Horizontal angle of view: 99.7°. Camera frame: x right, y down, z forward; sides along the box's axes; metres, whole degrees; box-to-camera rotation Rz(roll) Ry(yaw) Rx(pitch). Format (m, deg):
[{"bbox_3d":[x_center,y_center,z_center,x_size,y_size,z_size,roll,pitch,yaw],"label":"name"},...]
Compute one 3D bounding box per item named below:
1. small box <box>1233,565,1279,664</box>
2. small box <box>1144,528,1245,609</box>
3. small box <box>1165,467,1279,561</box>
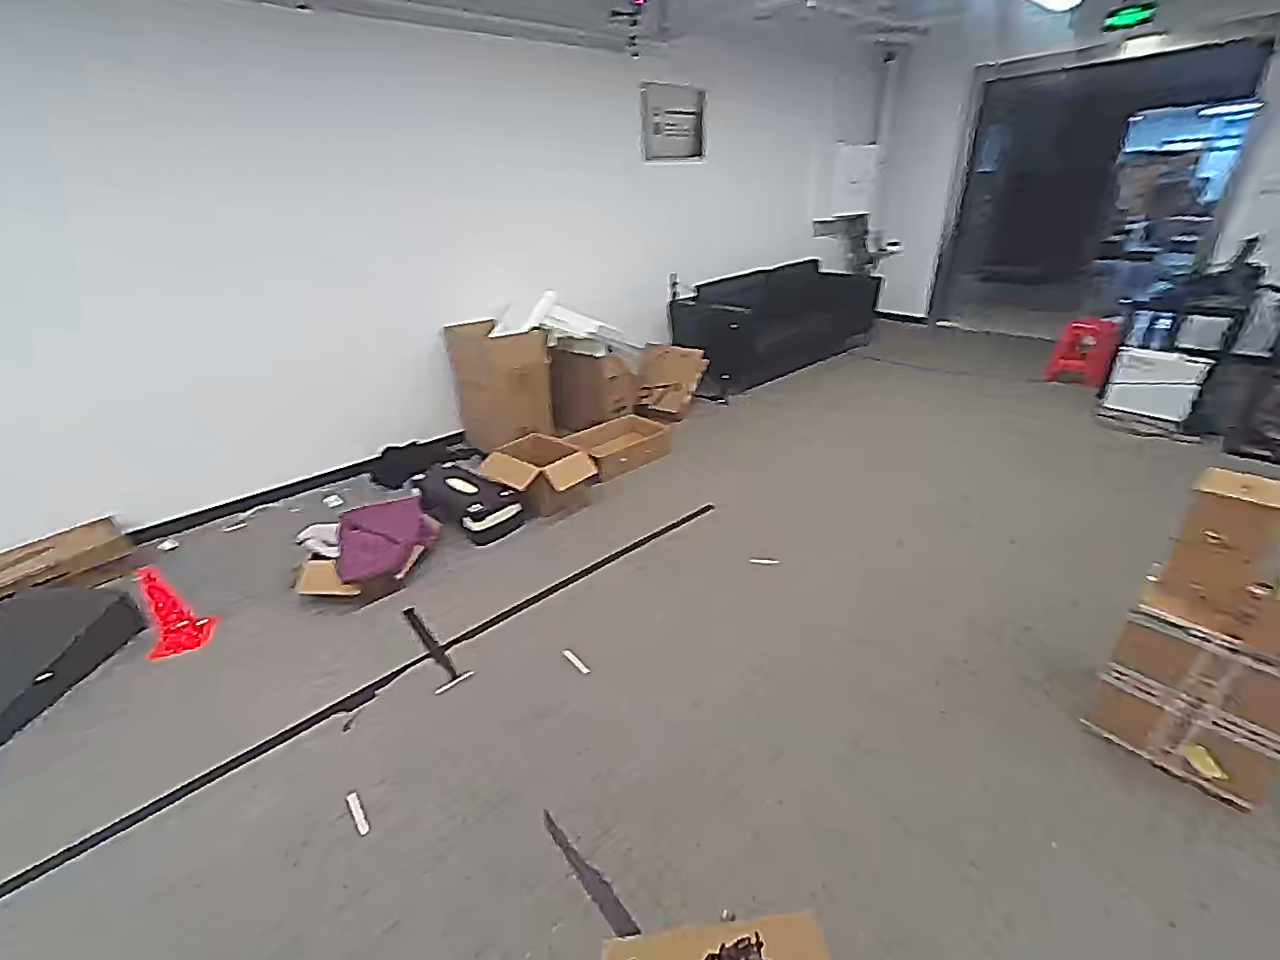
[{"bbox_3d":[1.610,0.345,1.321,0.179,0.176,0.168,-26,36,-33],"label":"small box"},{"bbox_3d":[1.576,0.231,1.533,0.179,0.176,0.168,-25,33,-33],"label":"small box"},{"bbox_3d":[1.563,0.089,1.456,0.179,0.176,0.168,-26,33,-33],"label":"small box"}]
